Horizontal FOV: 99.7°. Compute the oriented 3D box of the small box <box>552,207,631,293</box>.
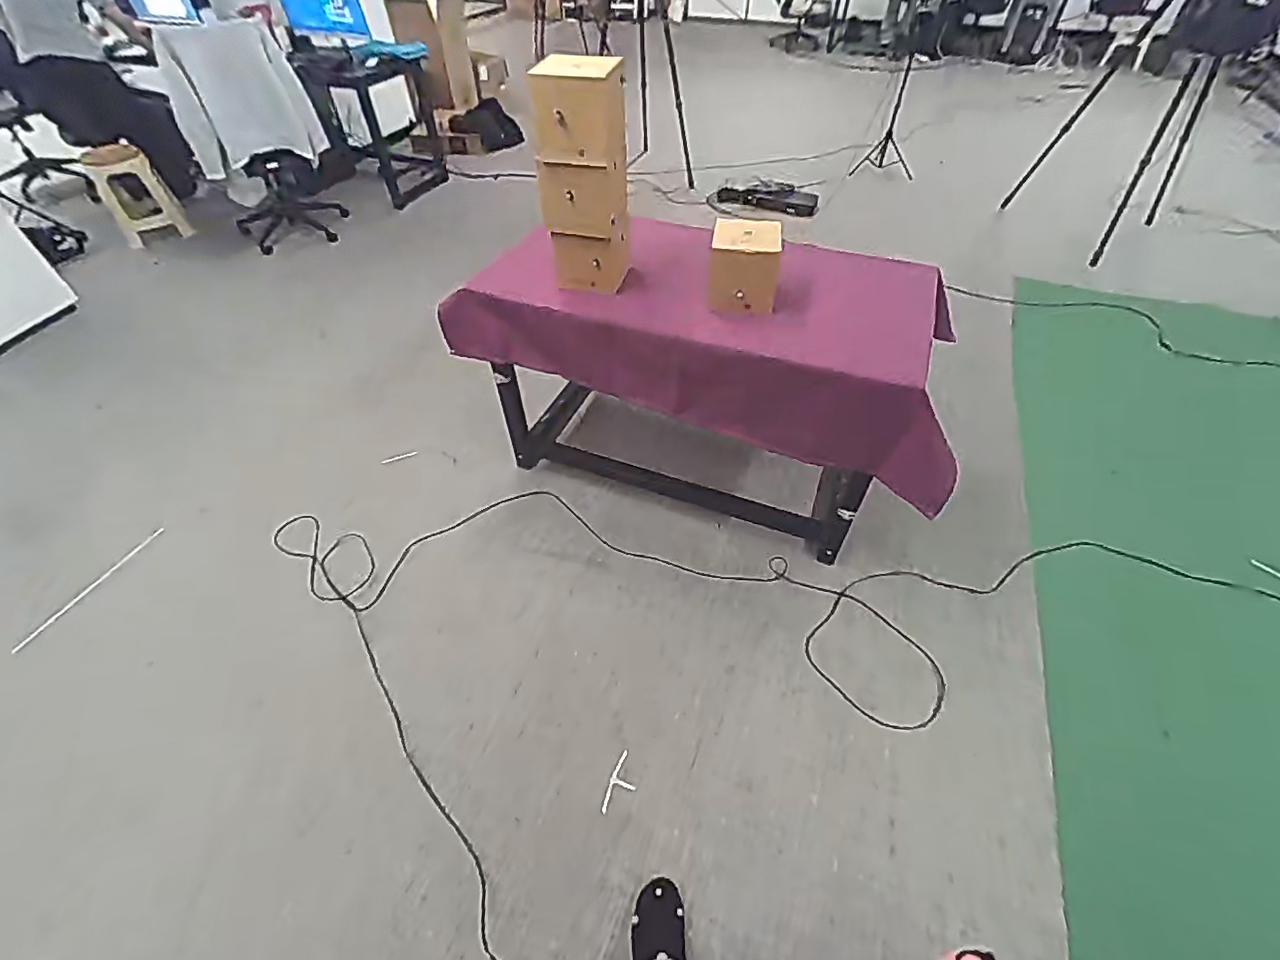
[{"bbox_3d":[-0.122,-0.630,1.467,0.168,0.176,0.179,12,49,10],"label":"small box"}]

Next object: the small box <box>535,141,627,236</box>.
[{"bbox_3d":[-0.135,-0.721,1.329,0.179,0.176,0.168,11,50,11],"label":"small box"}]

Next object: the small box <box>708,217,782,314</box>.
[{"bbox_3d":[0.267,-0.549,1.385,0.168,0.176,0.179,7,49,8],"label":"small box"}]

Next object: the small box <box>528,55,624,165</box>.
[{"bbox_3d":[-0.132,-0.819,1.199,0.168,0.176,0.179,9,49,8],"label":"small box"}]
